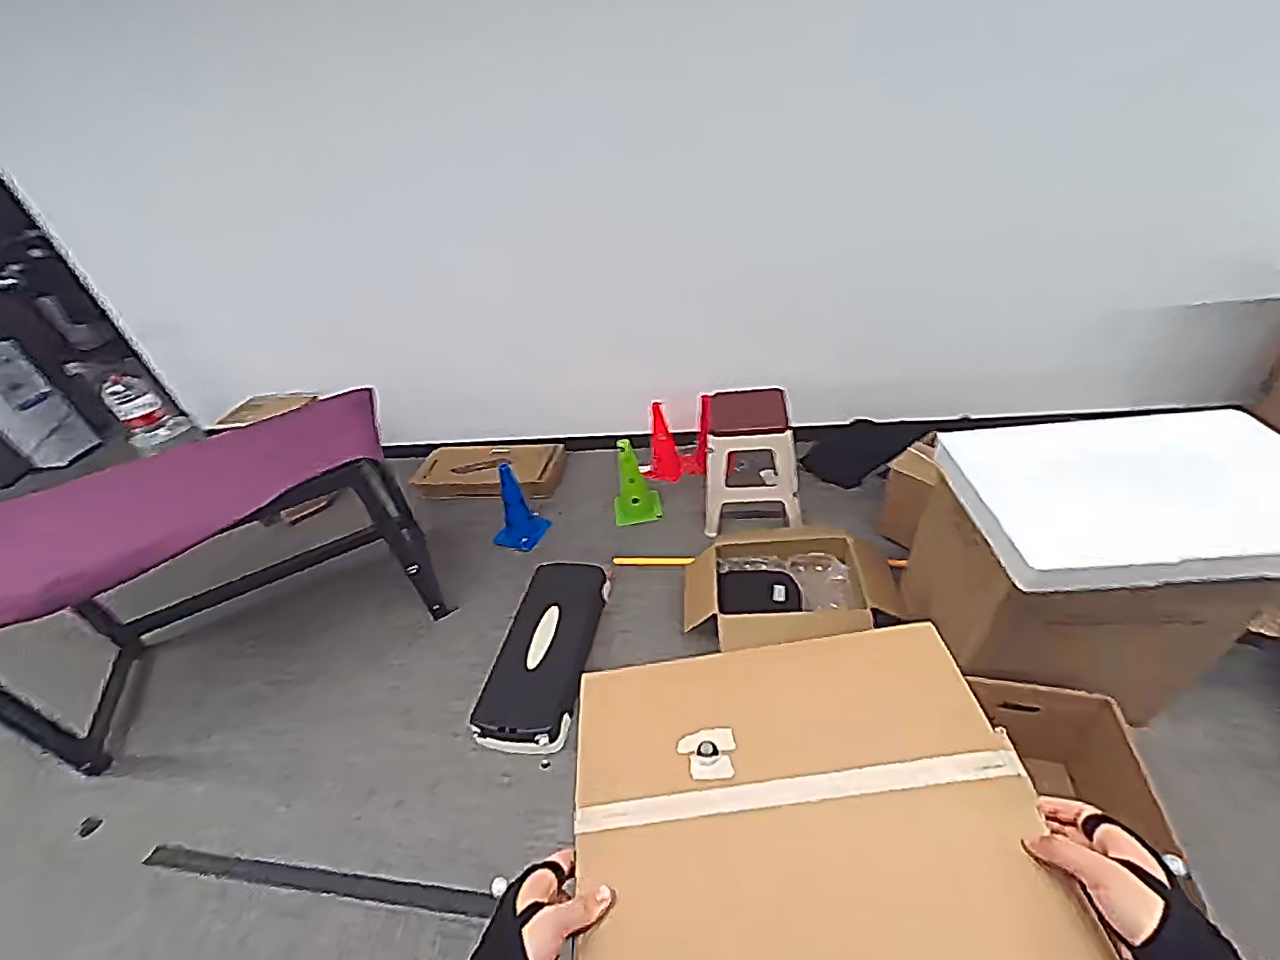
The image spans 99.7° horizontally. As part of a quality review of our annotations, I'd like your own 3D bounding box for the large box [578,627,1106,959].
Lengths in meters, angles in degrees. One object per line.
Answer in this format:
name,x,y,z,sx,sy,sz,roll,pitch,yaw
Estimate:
large box,0.168,0.414,0.604,0.408,0.320,0.320,-12,38,5
